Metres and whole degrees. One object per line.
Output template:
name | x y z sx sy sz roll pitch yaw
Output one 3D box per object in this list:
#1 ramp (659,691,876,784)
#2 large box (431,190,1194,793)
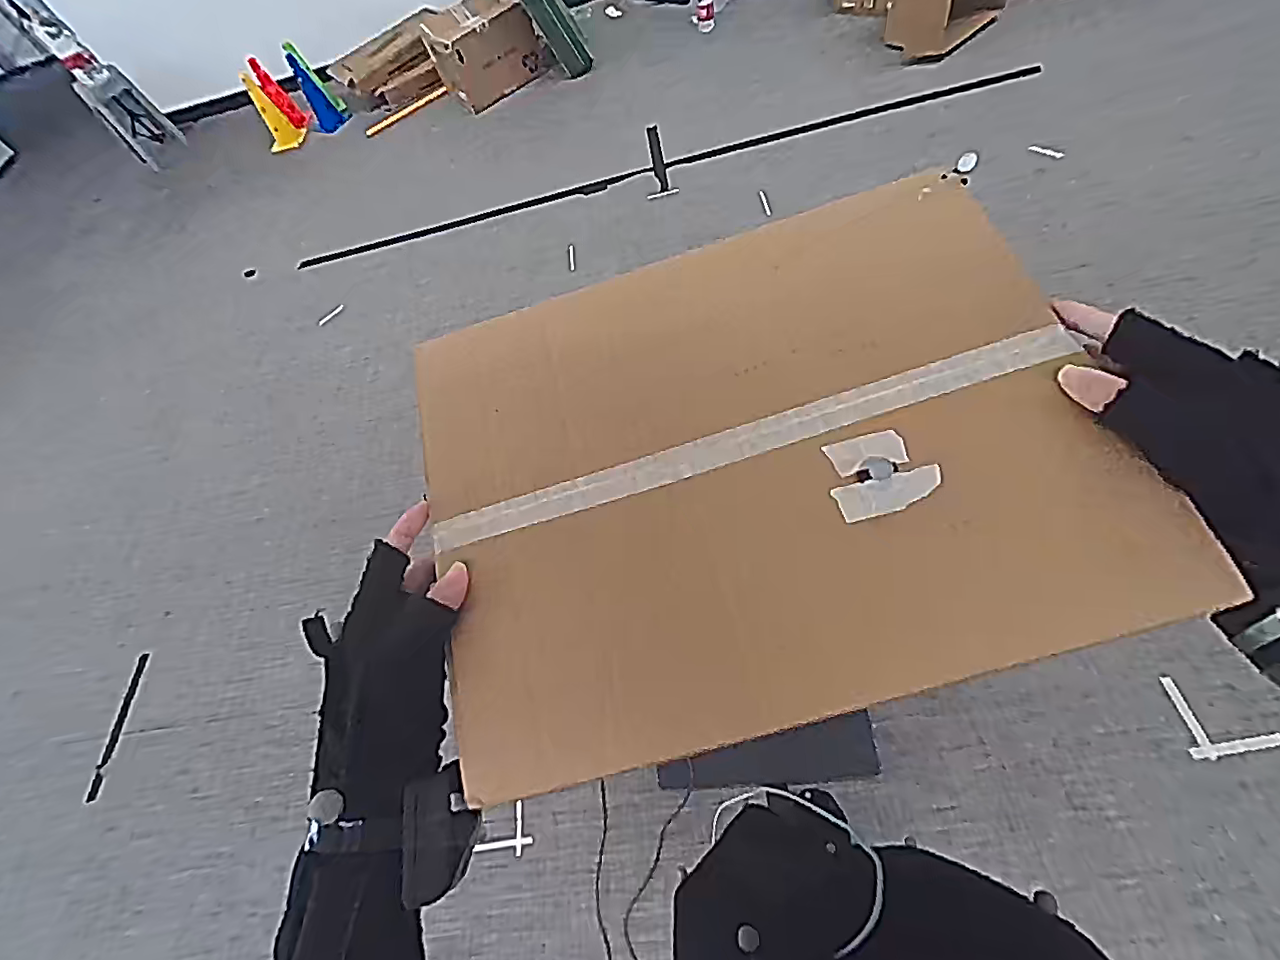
ramp | 0.239 0.201 1.383 0.509 0.206 0.991 -10 60 6
large box | 0.088 0.034 0.486 0.408 0.320 0.320 -18 68 3
